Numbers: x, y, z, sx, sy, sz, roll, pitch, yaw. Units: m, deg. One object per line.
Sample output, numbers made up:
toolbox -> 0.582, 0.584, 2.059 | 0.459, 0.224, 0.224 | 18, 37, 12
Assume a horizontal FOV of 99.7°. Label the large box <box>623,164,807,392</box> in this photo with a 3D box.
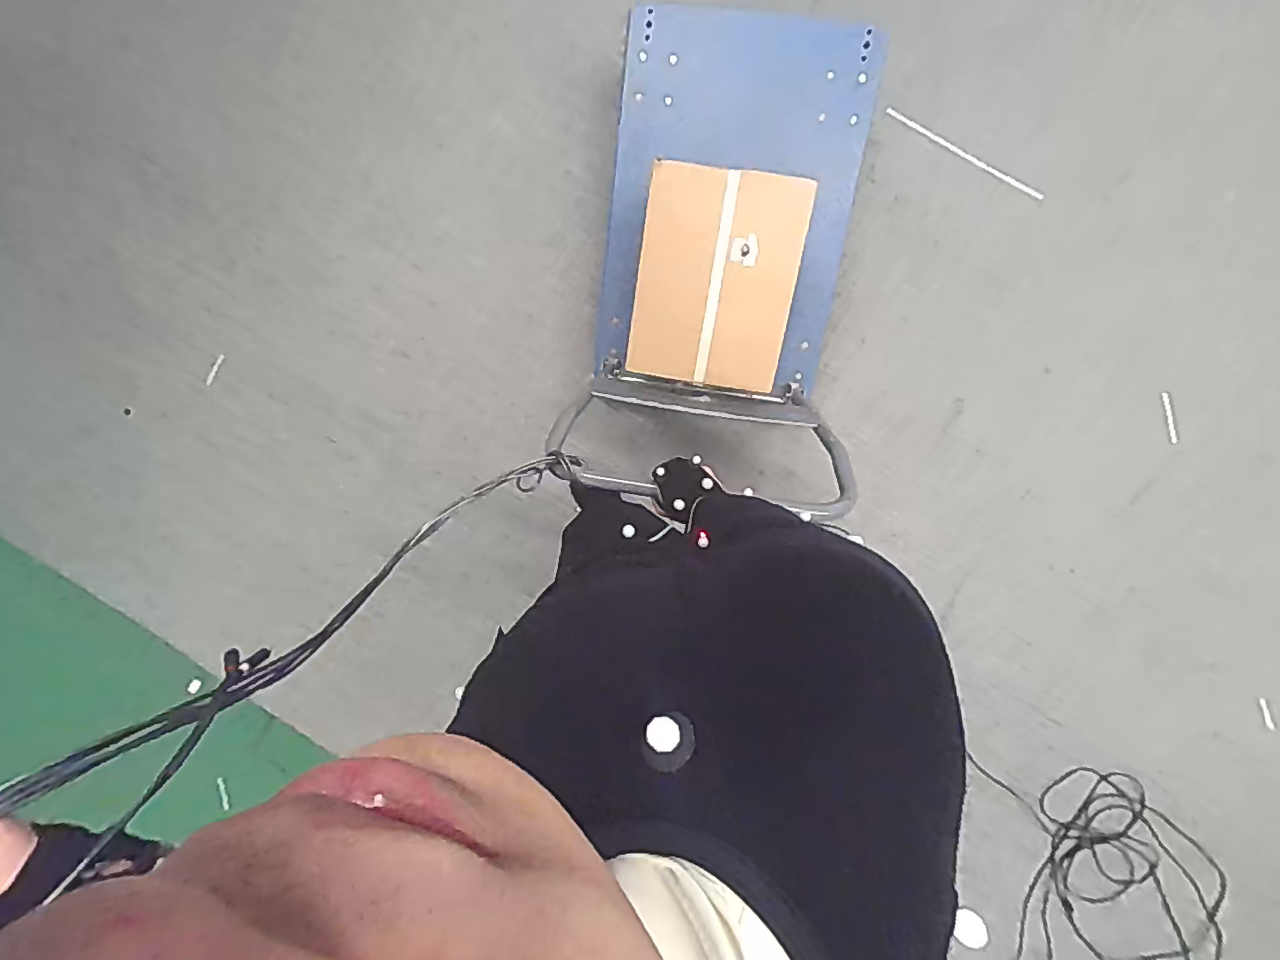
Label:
large box -> 0.157, -0.435, 1.229 | 0.320, 0.320, 0.408 | 10, 107, 2
